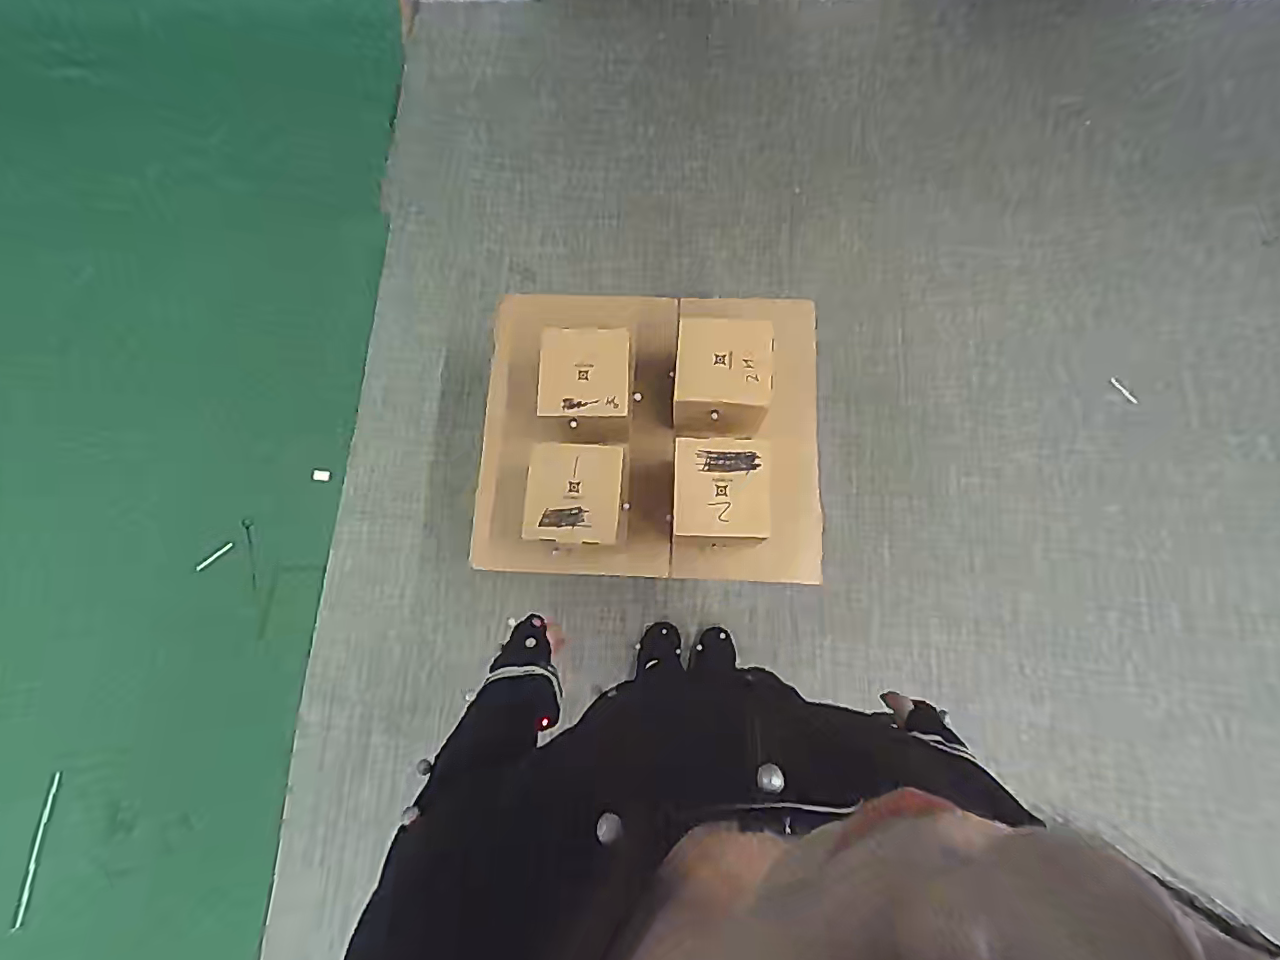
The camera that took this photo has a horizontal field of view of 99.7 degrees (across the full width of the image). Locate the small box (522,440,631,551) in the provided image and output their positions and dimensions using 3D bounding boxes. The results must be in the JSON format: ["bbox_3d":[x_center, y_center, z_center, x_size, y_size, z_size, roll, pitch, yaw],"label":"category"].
[{"bbox_3d":[-0.109,0.036,1.008,0.168,0.176,0.179,3,77,4],"label":"small box"}]

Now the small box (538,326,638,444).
[{"bbox_3d":[-0.094,-0.180,1.056,0.168,0.176,0.179,1,76,4],"label":"small box"}]
